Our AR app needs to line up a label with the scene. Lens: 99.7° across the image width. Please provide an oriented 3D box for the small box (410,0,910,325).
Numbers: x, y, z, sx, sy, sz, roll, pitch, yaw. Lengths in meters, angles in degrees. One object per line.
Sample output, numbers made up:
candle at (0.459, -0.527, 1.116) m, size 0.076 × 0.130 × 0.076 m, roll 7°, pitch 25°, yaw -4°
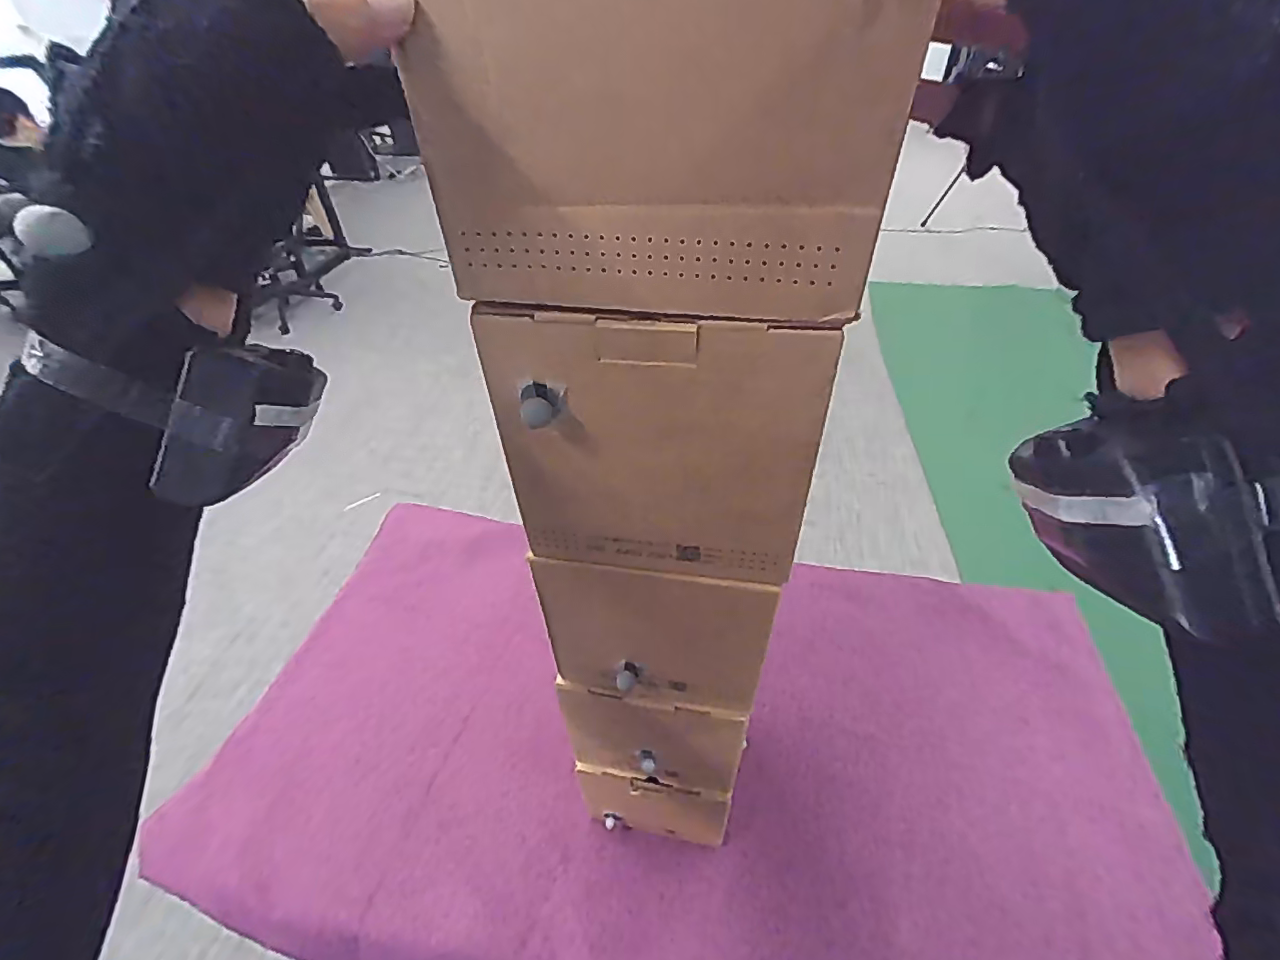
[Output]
small box at (0.013, -0.184, 0.244) m, size 0.179 × 0.176 × 0.168 m, roll 6°, pitch 44°, yaw 8°

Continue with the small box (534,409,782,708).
small box at (0.025, 0.063, 0.464) m, size 0.168 × 0.176 × 0.179 m, roll 6°, pitch 43°, yaw 10°

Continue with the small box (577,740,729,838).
small box at (0.032, 0.314, 0.674) m, size 0.168 × 0.176 × 0.179 m, roll 7°, pitch 42°, yaw 10°

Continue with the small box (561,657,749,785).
small box at (0.028, 0.186, 0.570) m, size 0.168 × 0.176 × 0.179 m, roll 7°, pitch 43°, yaw 10°
